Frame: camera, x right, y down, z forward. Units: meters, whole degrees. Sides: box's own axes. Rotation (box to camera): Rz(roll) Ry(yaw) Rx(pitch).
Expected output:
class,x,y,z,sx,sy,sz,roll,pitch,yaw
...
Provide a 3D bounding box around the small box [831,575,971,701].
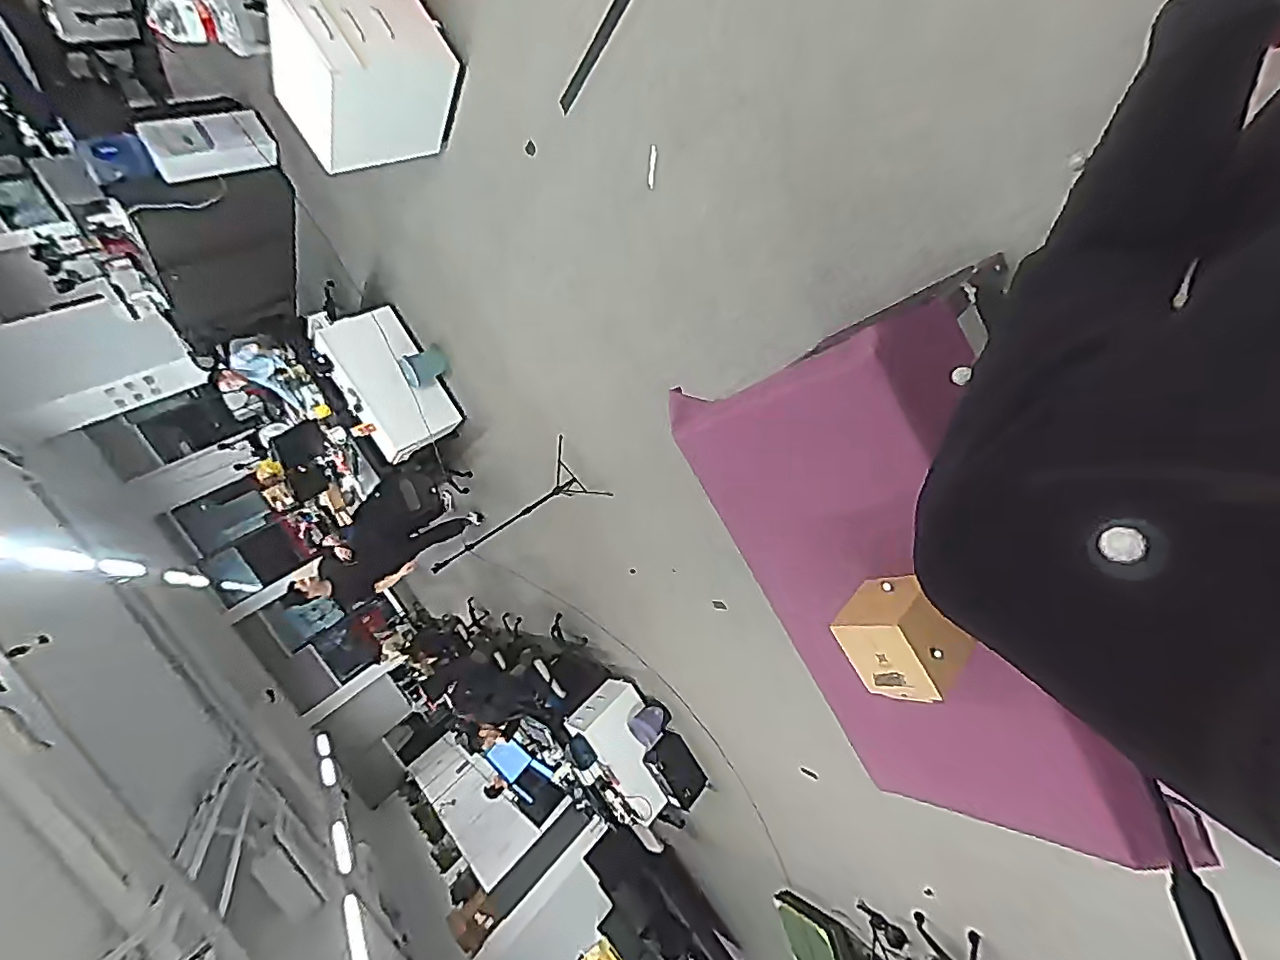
class,x,y,z,sx,sy,sz,roll,pitch,yaw
small box,0.537,0.318,1.108,0.179,0.176,0.168,57,147,-4
